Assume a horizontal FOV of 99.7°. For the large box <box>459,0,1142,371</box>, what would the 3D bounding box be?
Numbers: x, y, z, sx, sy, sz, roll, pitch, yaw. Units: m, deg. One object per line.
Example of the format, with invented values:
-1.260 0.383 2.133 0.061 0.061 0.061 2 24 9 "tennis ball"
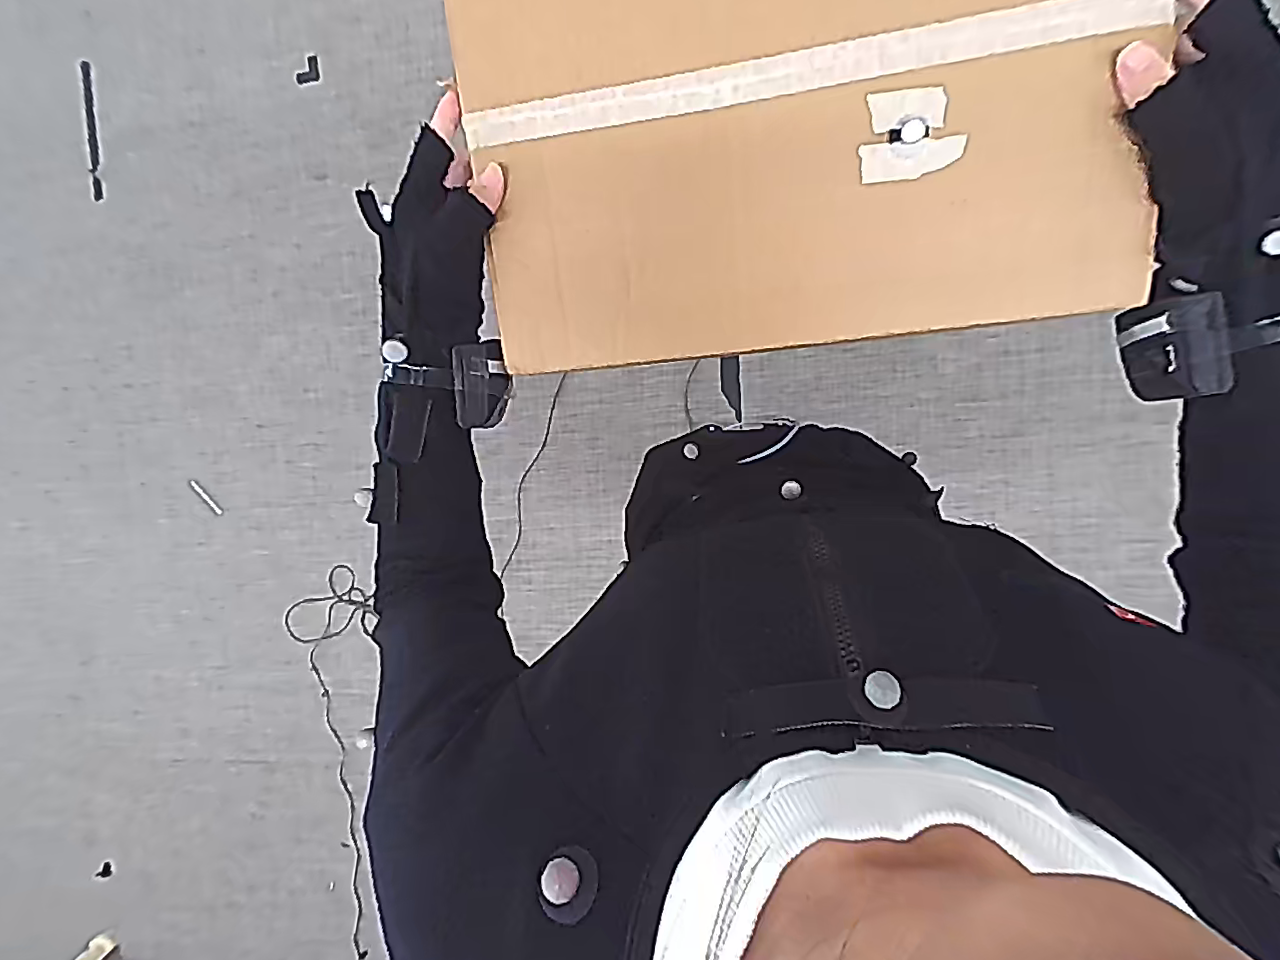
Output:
0.105 -0.280 0.479 0.408 0.320 0.320 -5 103 8 "large box"
